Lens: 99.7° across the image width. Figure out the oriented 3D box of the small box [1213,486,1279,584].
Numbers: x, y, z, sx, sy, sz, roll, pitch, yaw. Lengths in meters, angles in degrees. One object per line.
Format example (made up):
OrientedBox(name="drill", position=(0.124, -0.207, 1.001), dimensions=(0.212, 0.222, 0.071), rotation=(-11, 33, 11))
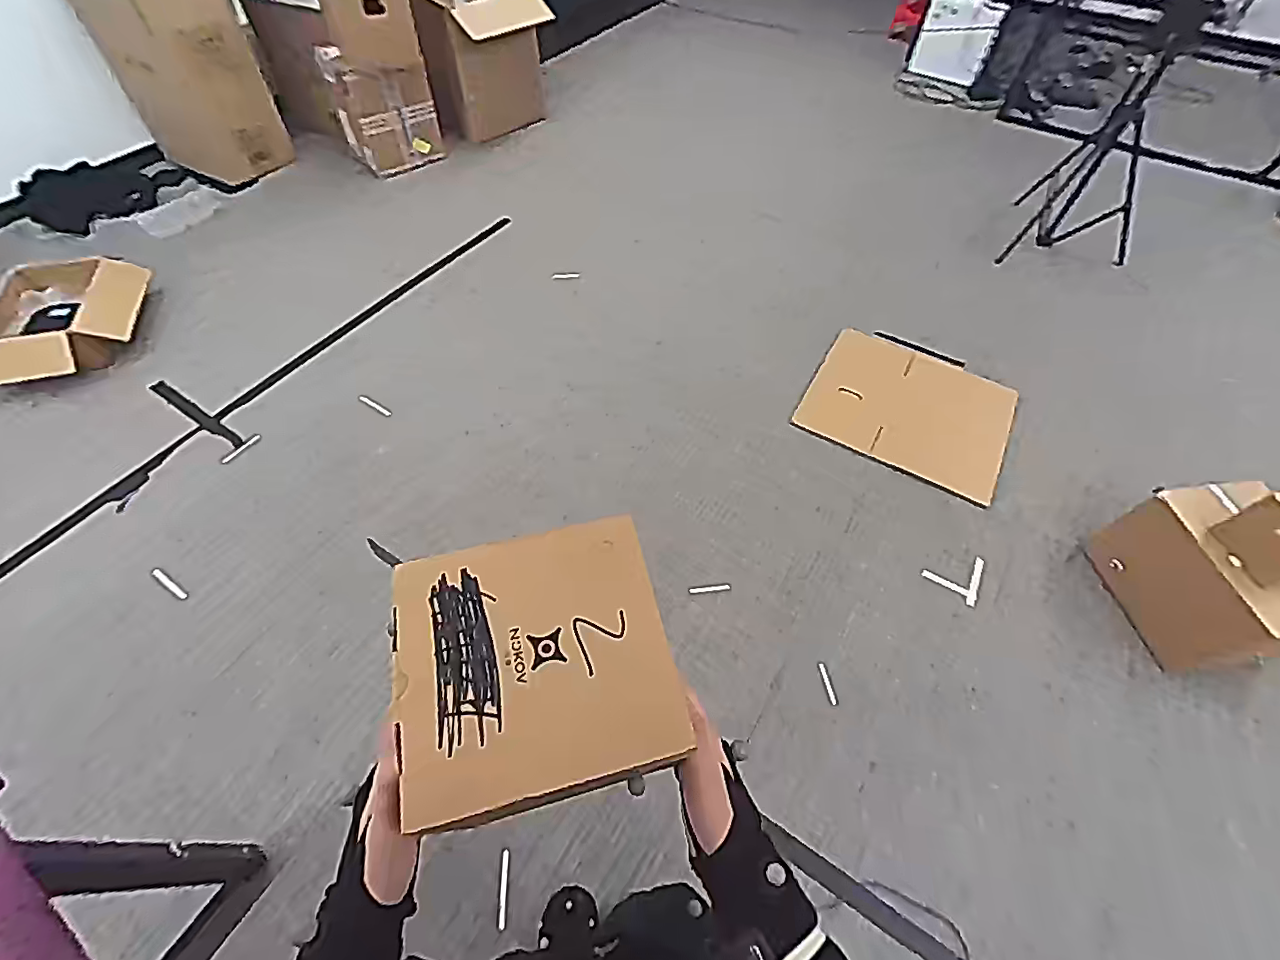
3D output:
OrientedBox(name="small box", position=(1.535, 0.121, 1.265), dimensions=(0.168, 0.176, 0.179), rotation=(-9, 57, -5))
